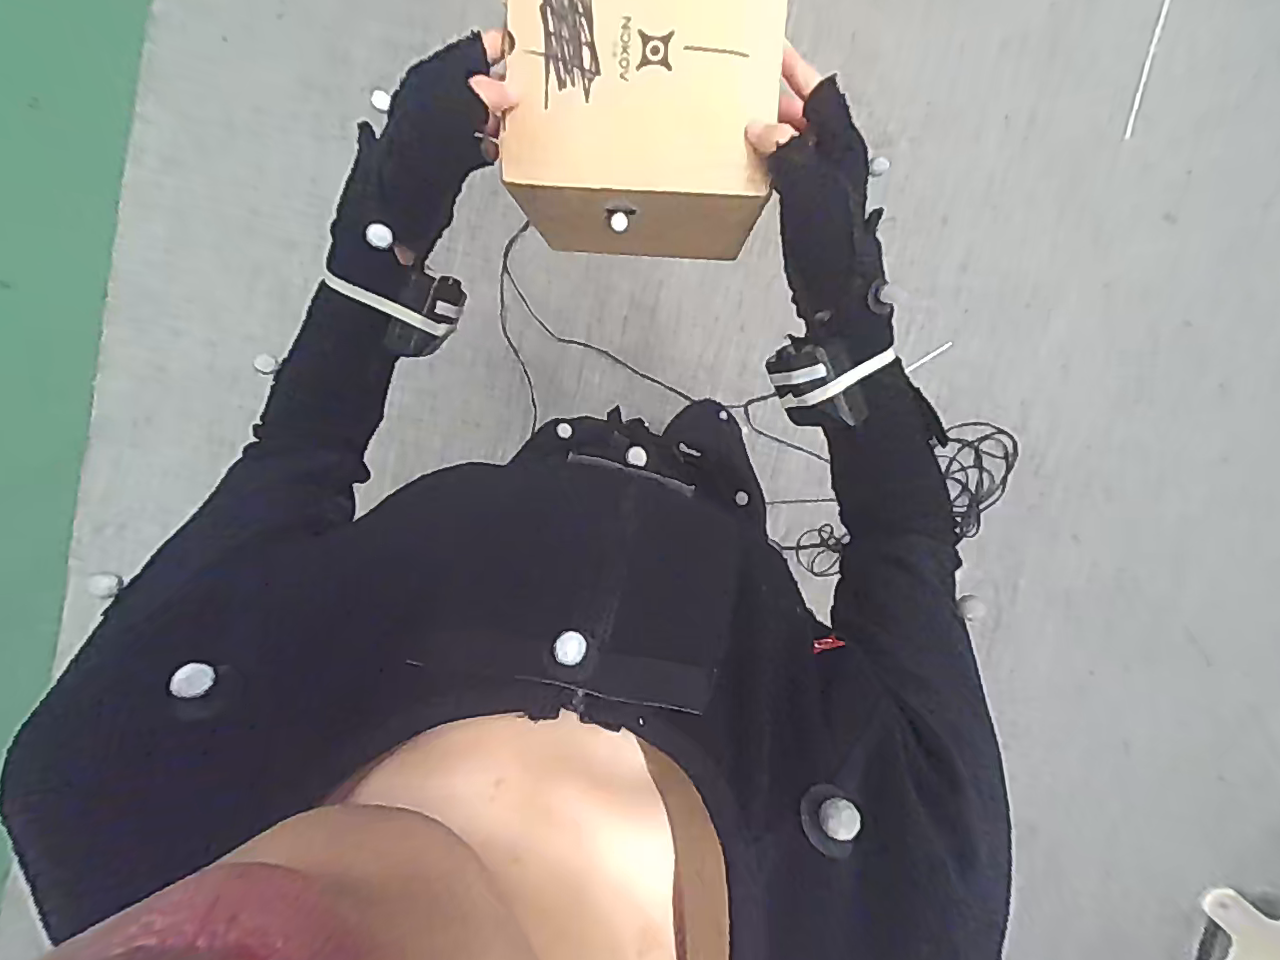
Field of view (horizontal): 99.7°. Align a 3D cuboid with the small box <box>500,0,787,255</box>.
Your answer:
[{"bbox_3d":[0.004,-0.281,0.414,0.179,0.176,0.168,4,98,1],"label":"small box"}]
